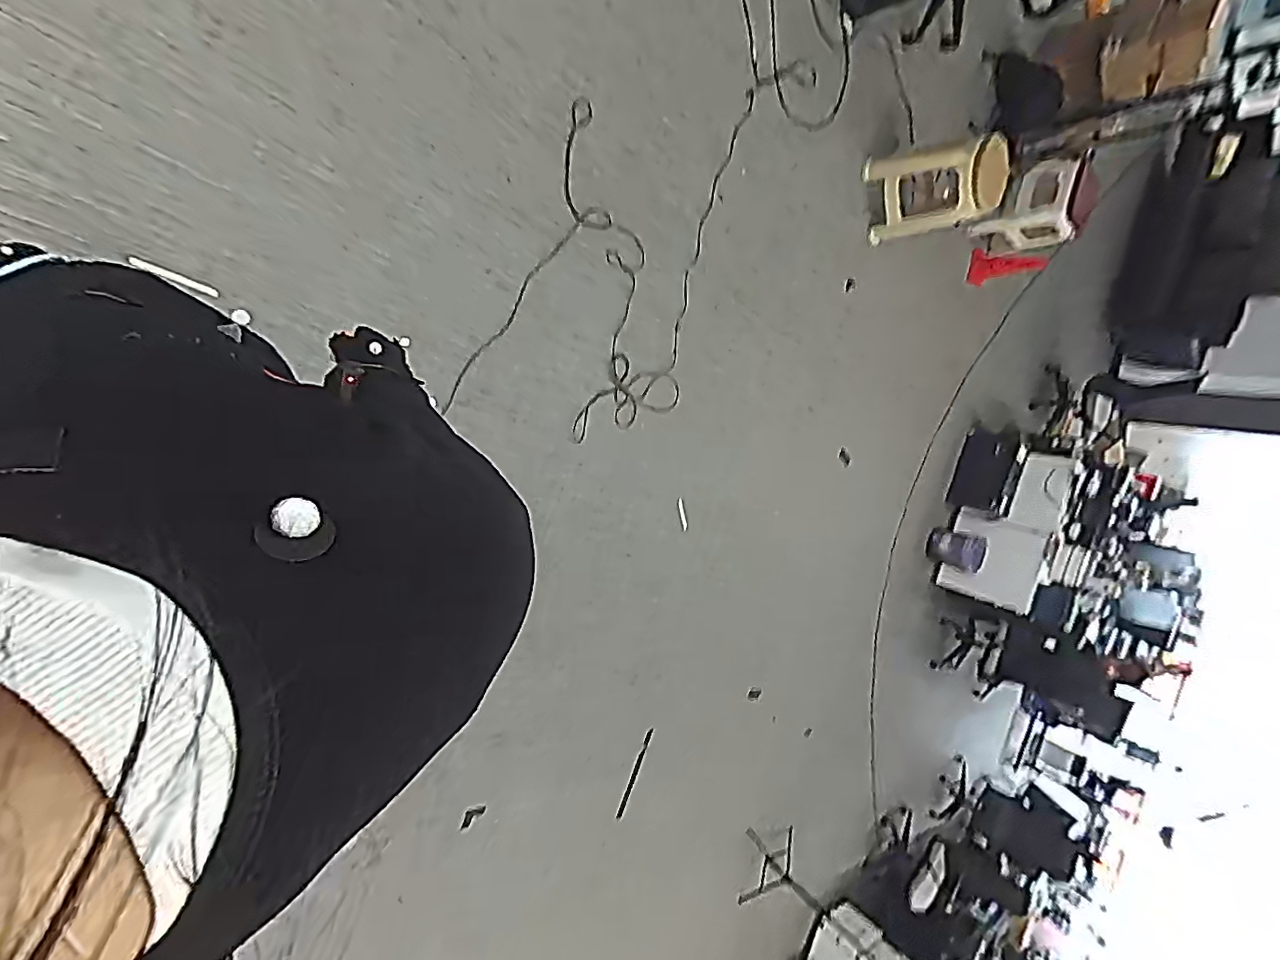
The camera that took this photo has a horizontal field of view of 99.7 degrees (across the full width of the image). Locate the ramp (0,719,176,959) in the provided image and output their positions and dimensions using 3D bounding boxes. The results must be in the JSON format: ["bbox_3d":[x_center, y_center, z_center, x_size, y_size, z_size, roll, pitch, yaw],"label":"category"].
[{"bbox_3d":[-1.341,0.956,0.993,0.509,0.206,0.991,20,89,-41],"label":"ramp"}]
